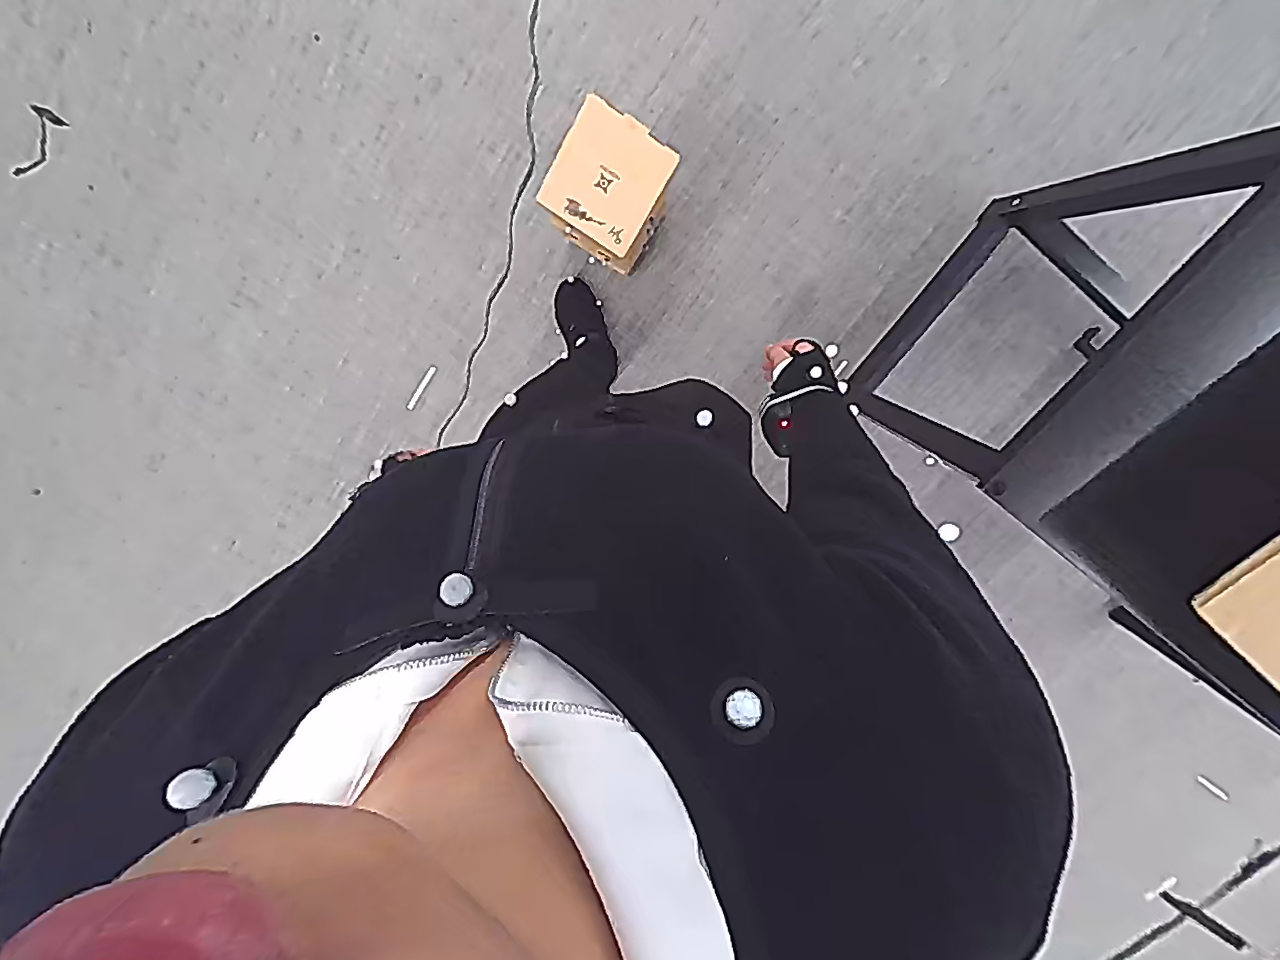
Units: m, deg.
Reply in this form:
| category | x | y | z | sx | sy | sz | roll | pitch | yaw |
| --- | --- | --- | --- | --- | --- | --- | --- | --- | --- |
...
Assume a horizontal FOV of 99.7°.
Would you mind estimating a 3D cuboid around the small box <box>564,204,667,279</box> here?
| category | x | y | z | sx | sy | sz | roll | pitch | yaw |
| --- | --- | --- | --- | --- | --- | --- | --- | --- | --- |
| small box | -0.055 | -0.581 | 1.236 | 0.168 | 0.176 | 0.179 | 31 | 107 | -9 |

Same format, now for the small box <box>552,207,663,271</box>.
| category | x | y | z | sx | sy | sz | roll | pitch | yaw |
| --- | --- | --- | --- | --- | --- | --- | --- | --- | --- |
| small box | -0.055 | -0.537 | 1.080 | 0.168 | 0.176 | 0.179 | 27 | 105 | -9 |

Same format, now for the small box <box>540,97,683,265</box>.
| category | x | y | z | sx | sy | sz | roll | pitch | yaw |
| --- | --- | --- | --- | --- | --- | --- | --- | --- | --- |
| small box | -0.048 | -0.492 | 0.921 | 0.168 | 0.176 | 0.179 | 31 | 105 | -9 |
